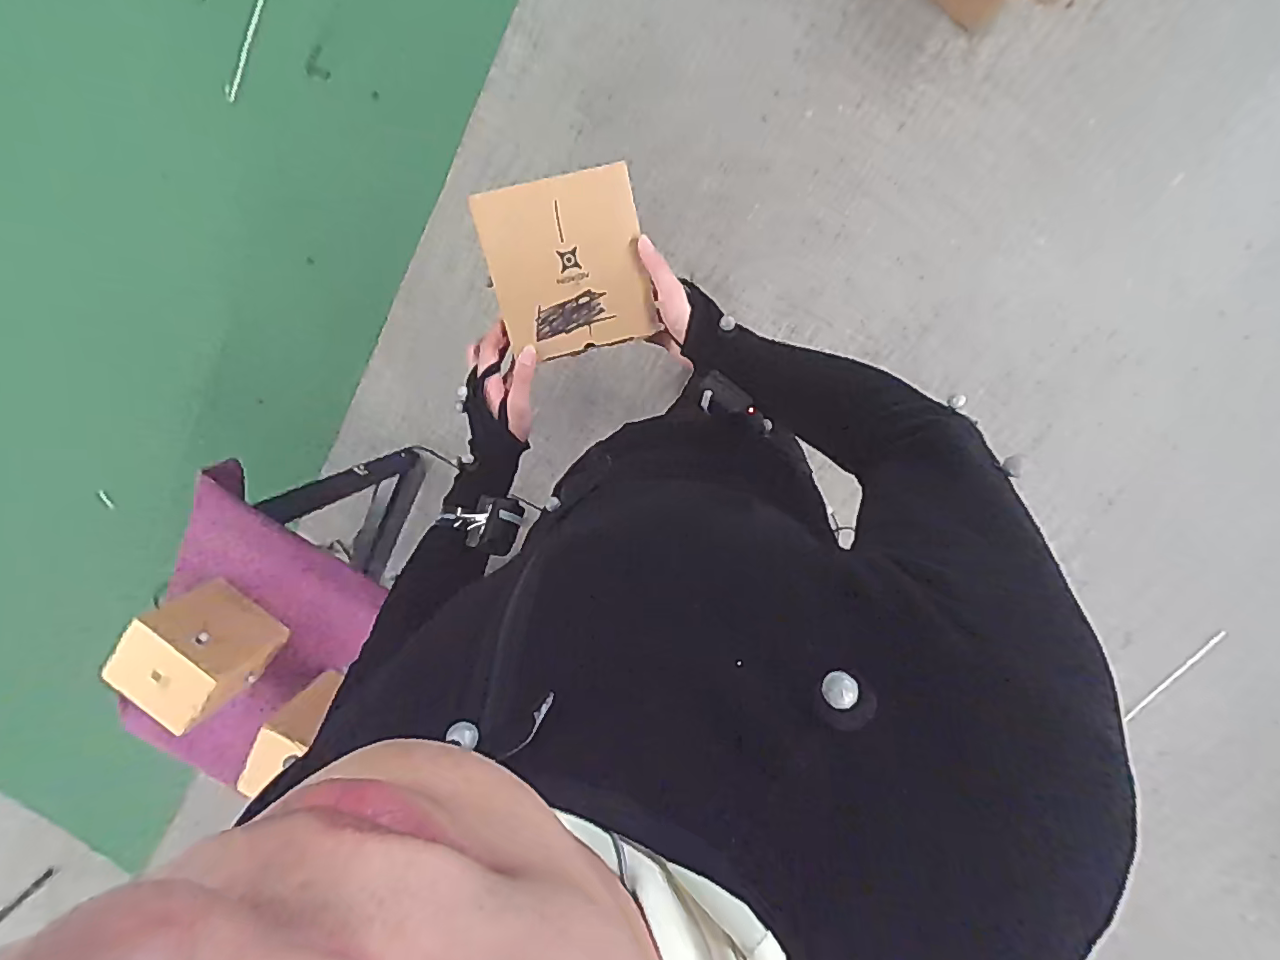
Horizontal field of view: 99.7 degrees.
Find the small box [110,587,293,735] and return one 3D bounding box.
[{"bbox_3d":[-0.815,0.326,1.020,0.179,0.176,0.168,41,107,-4],"label":"small box"}]

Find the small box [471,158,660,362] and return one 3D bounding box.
[{"bbox_3d":[-0.083,-0.251,0.637,0.168,0.176,0.179,-14,110,-5],"label":"small box"}]

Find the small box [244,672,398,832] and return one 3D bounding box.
[{"bbox_3d":[-0.599,0.512,1.036,0.168,0.176,0.179,31,107,-1],"label":"small box"}]
